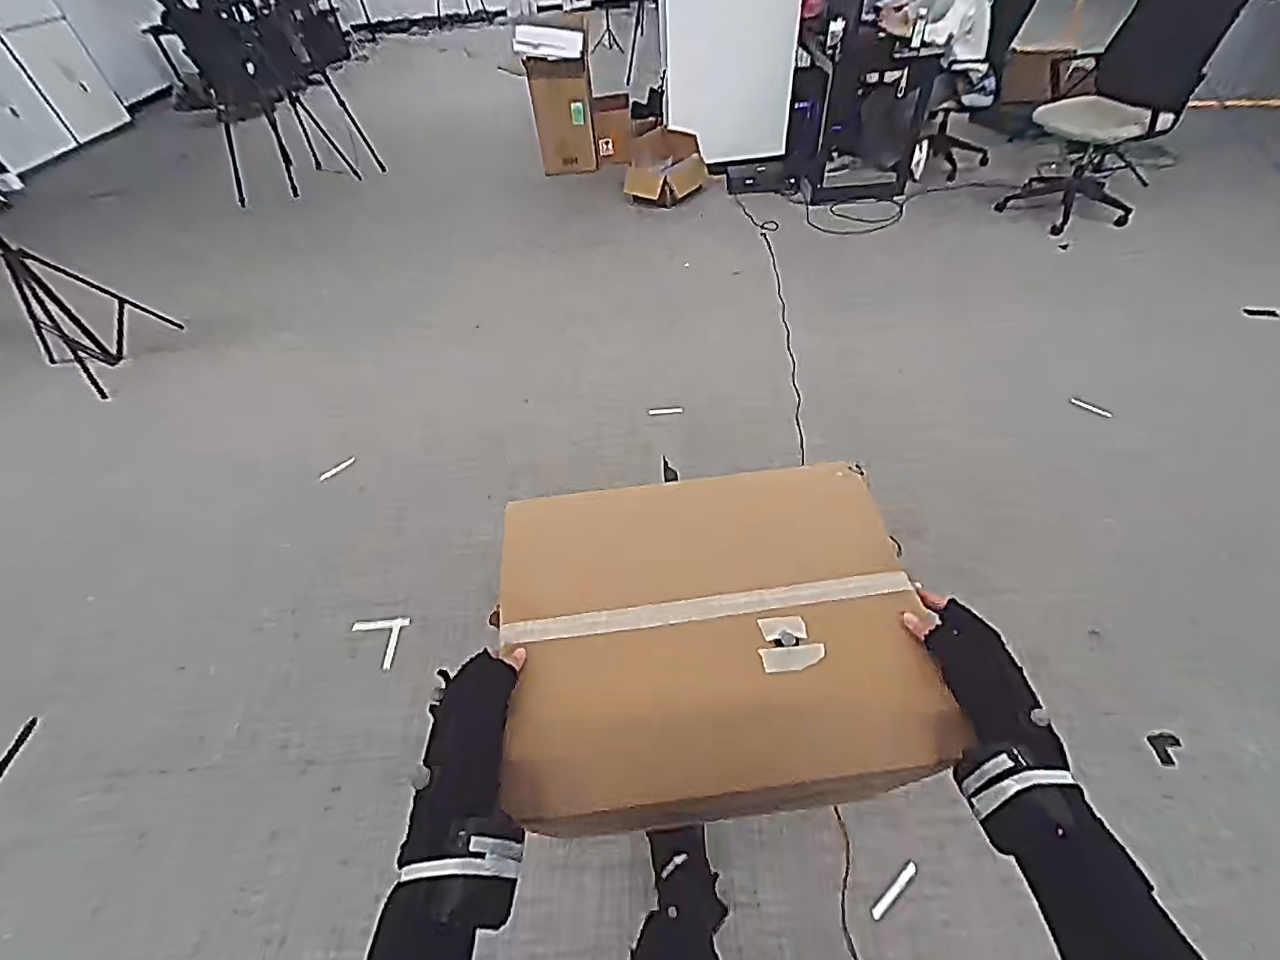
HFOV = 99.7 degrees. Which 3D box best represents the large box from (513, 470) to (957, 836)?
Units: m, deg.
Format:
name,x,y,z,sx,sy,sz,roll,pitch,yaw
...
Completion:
name,x,y,z,sx,sy,sz,roll,pitch,yaw
large box,0.072,0.223,0.675,0.408,0.320,0.320,-7,55,-2
